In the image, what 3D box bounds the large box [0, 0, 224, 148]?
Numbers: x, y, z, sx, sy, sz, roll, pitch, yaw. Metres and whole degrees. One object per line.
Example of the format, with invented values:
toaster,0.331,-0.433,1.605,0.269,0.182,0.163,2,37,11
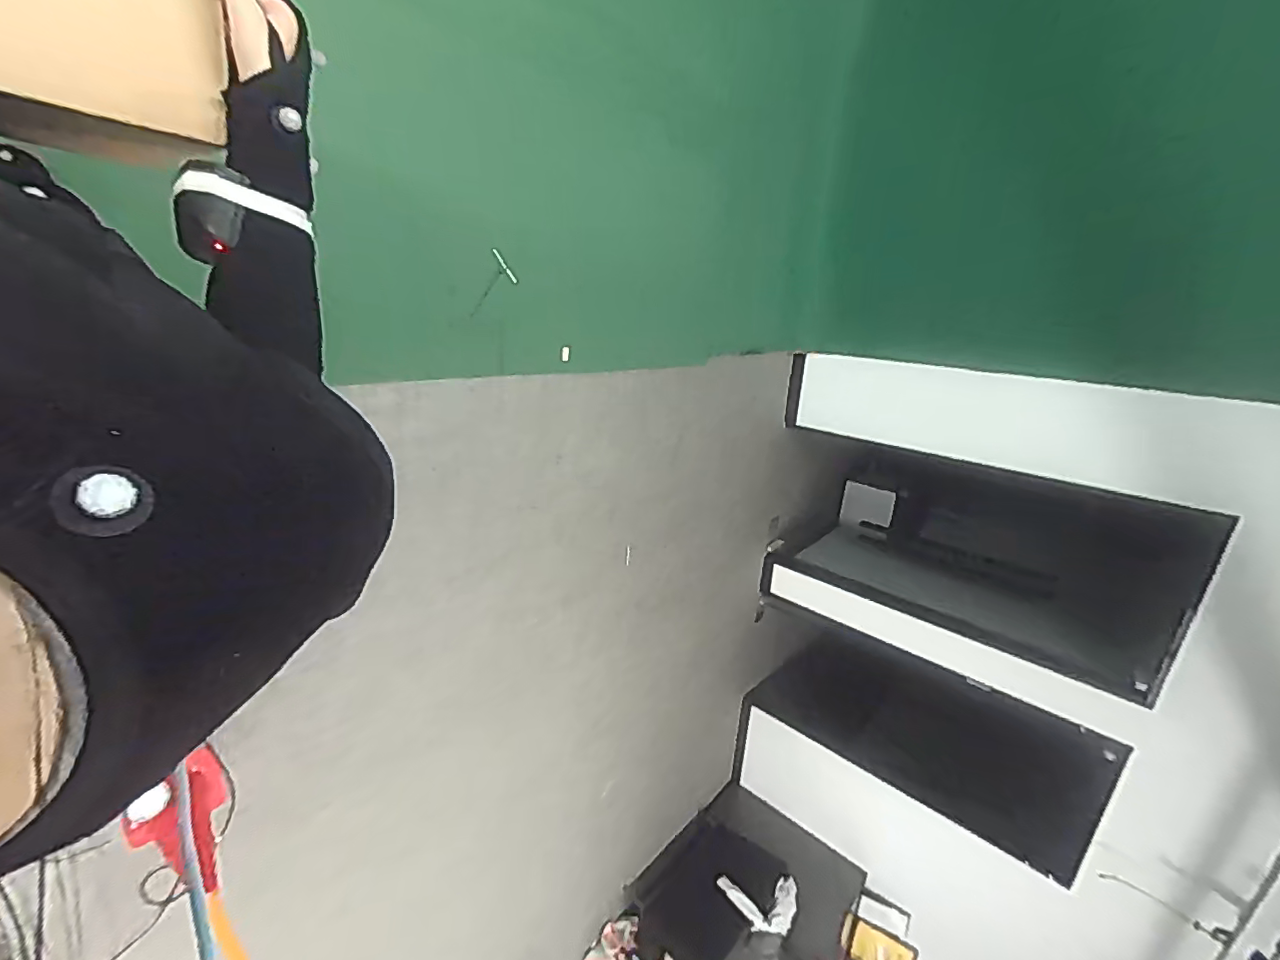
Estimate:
large box,-0.560,-0.428,0.329,0.408,0.320,0.320,-16,119,-48
